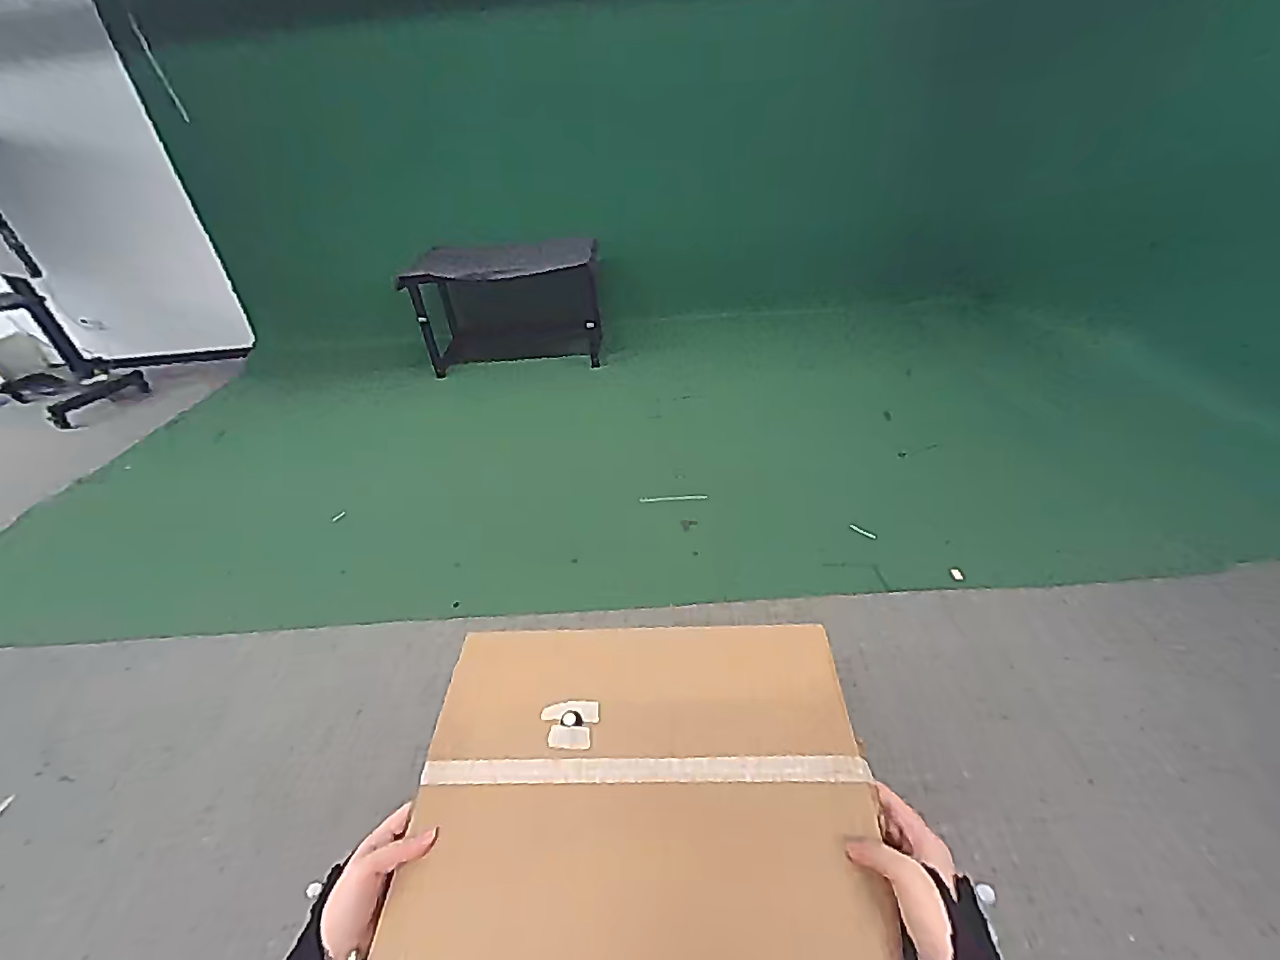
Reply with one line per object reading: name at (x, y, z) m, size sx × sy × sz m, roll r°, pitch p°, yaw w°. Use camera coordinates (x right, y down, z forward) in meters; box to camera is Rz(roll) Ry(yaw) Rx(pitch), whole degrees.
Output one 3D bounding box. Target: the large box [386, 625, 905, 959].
large box at (0.016, 0.390, 0.603) m, size 0.408 × 0.320 × 0.320 m, roll -4°, pitch 40°, yaw 5°
